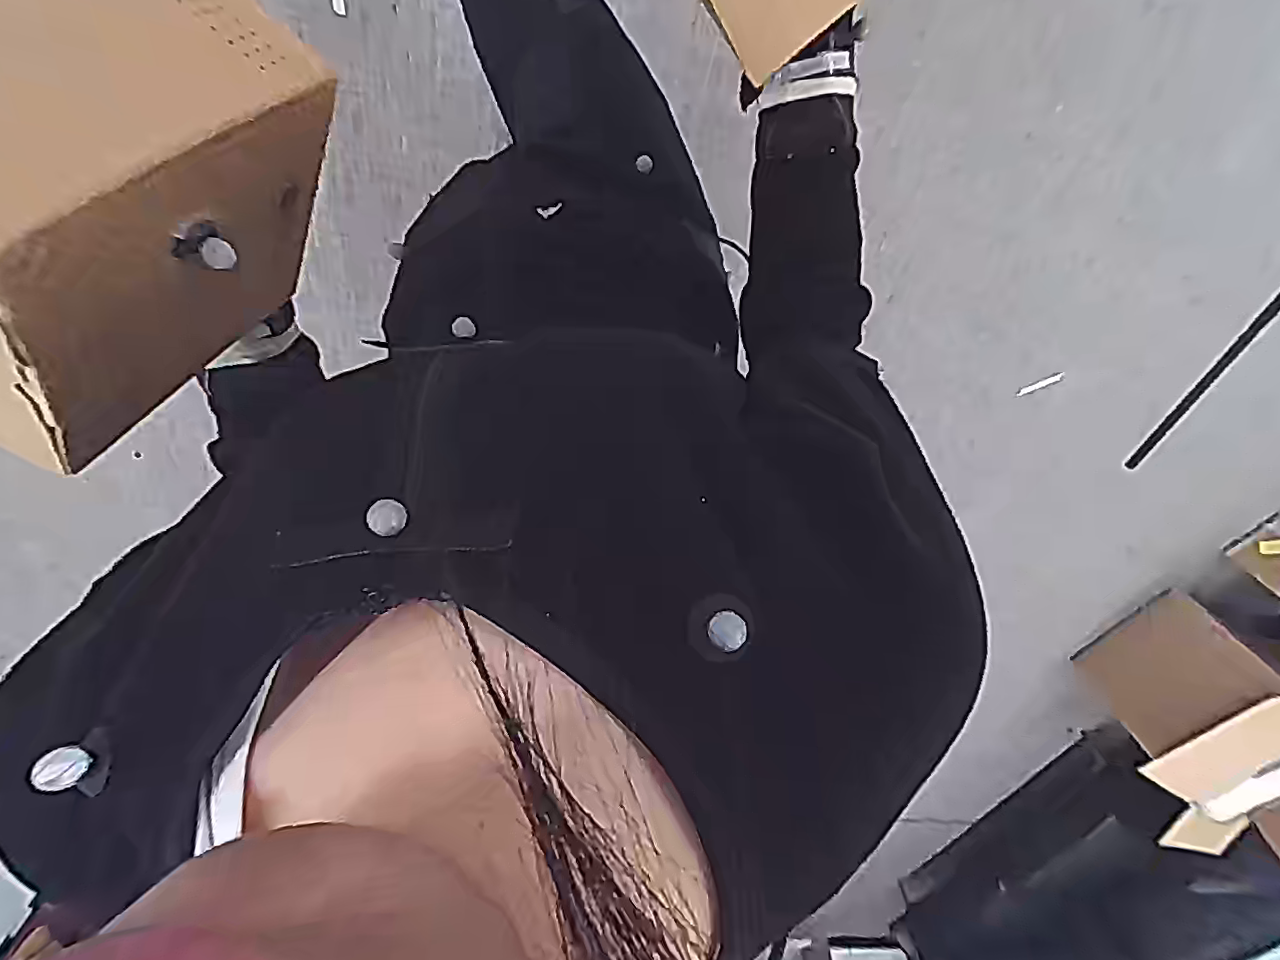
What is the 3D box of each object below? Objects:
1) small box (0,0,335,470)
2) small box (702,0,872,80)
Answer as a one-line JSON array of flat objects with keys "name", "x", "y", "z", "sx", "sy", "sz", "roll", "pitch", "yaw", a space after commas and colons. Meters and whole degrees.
[{"name": "small box", "x": -0.265, "y": -0.140, "z": 0.224, "sx": 0.179, "sy": 0.176, "sz": 0.168, "roll": 36, "pitch": 139, "yaw": -20}, {"name": "small box", "x": 0.063, "y": -0.309, "z": 0.203, "sx": 0.168, "sy": 0.176, "sz": 0.179, "roll": -27, "pitch": 133, "yaw": 26}]
